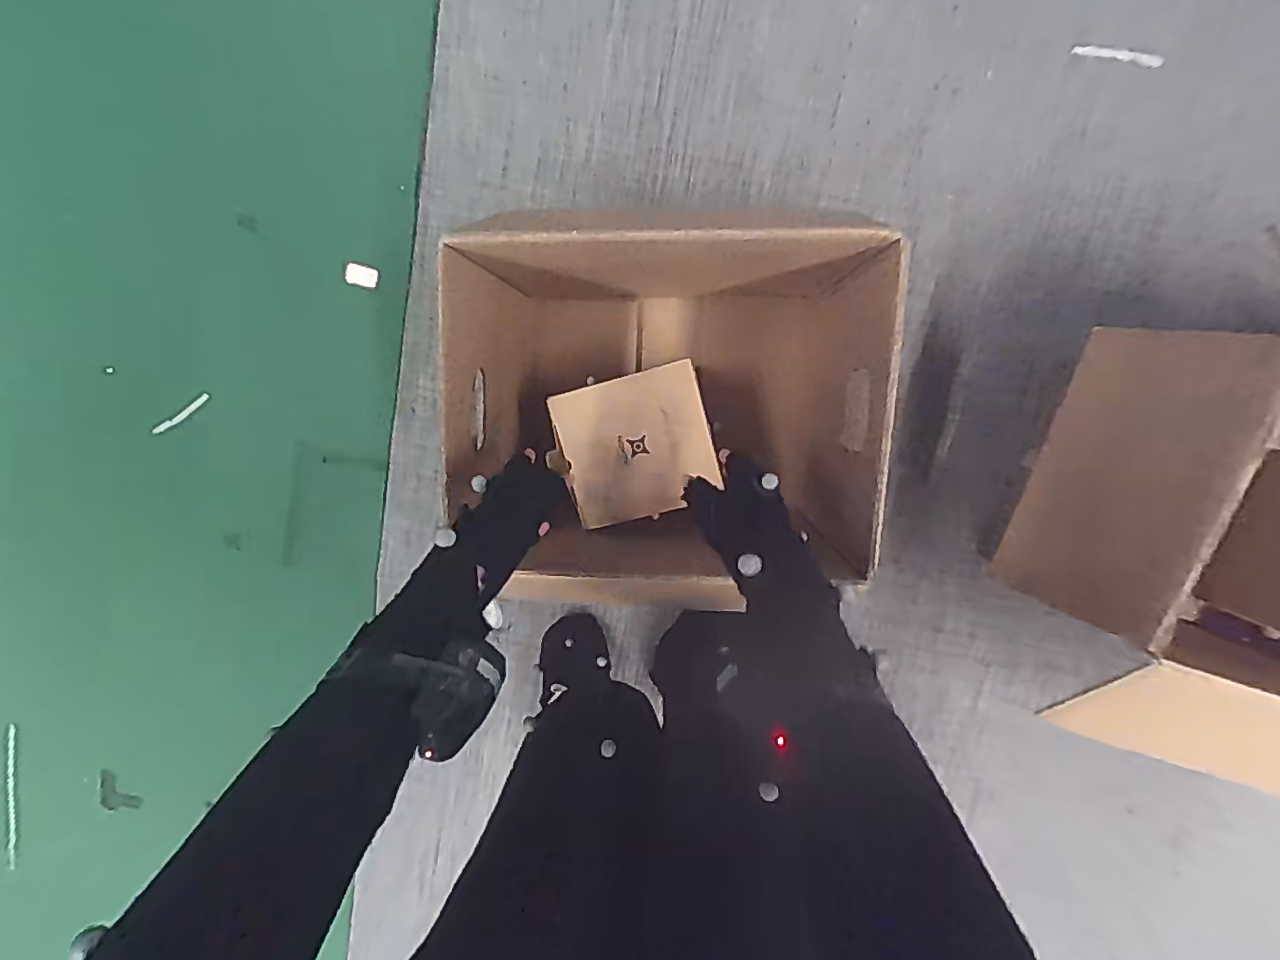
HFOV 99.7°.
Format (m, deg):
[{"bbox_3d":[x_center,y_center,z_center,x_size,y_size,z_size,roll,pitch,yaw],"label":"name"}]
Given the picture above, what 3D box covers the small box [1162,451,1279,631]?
[{"bbox_3d":[0.681,0.076,0.513,0.179,0.176,0.168,17,99,2],"label":"small box"}]
